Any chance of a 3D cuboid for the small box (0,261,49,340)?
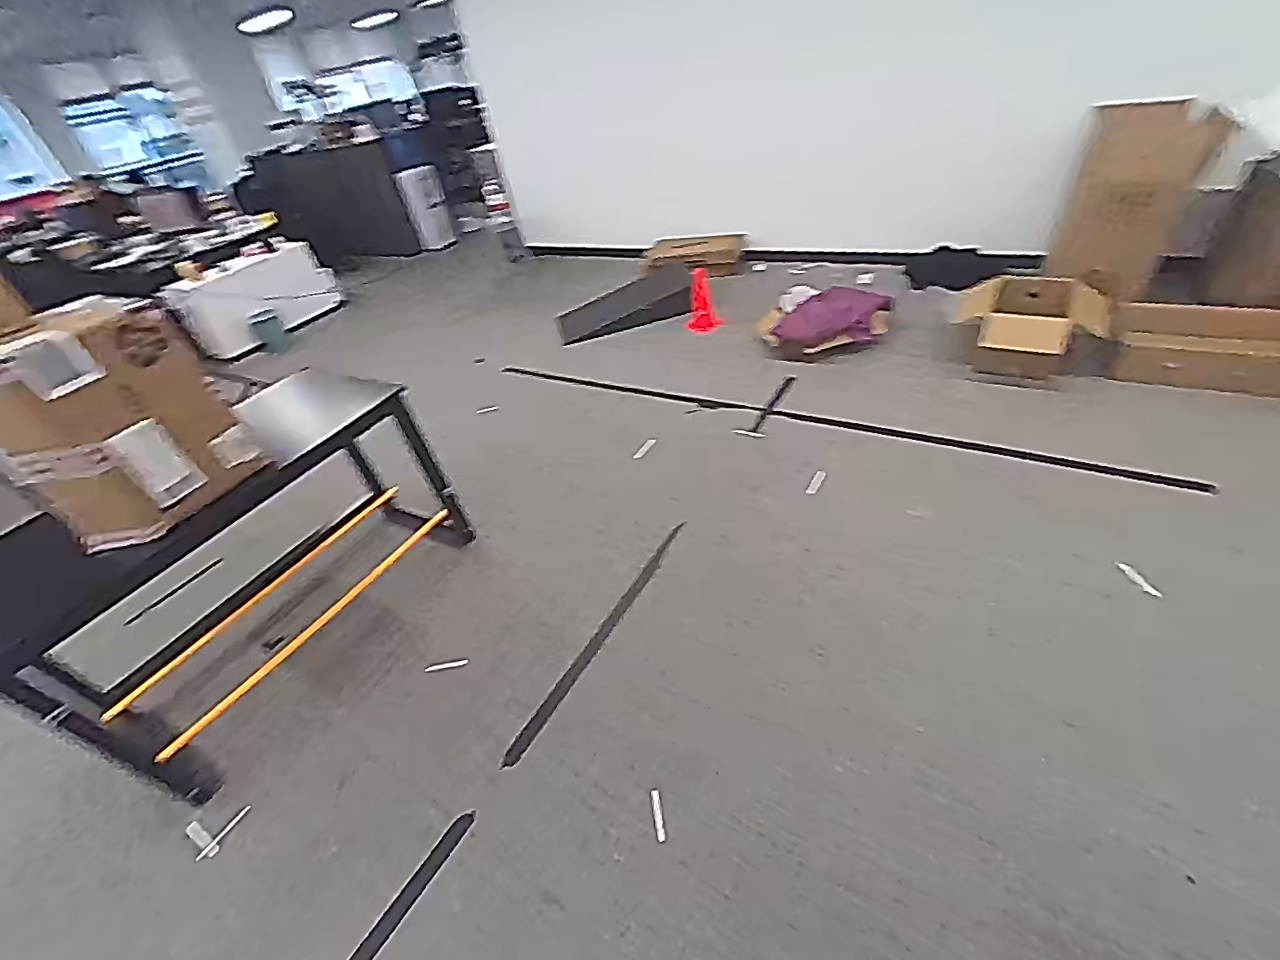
[{"bbox_3d":[-1.541,-0.409,1.238,0.179,0.176,0.168,9,42,27],"label":"small box"}]
